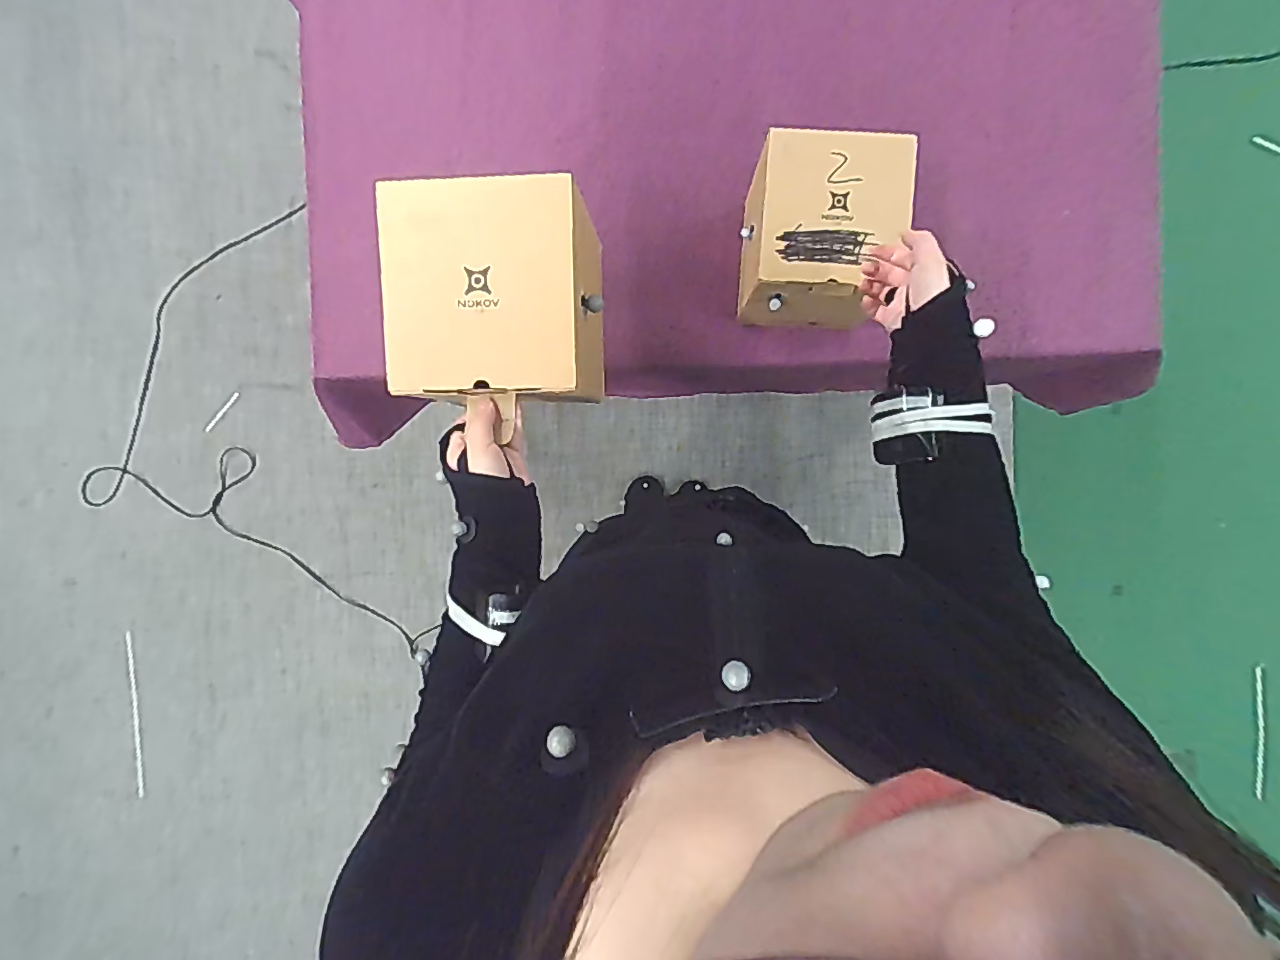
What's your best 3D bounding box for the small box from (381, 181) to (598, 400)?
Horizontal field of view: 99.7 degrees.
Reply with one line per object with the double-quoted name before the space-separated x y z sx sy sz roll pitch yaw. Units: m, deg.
"small box" -0.135 -0.173 0.544 0.168 0.176 0.179 0 97 4
